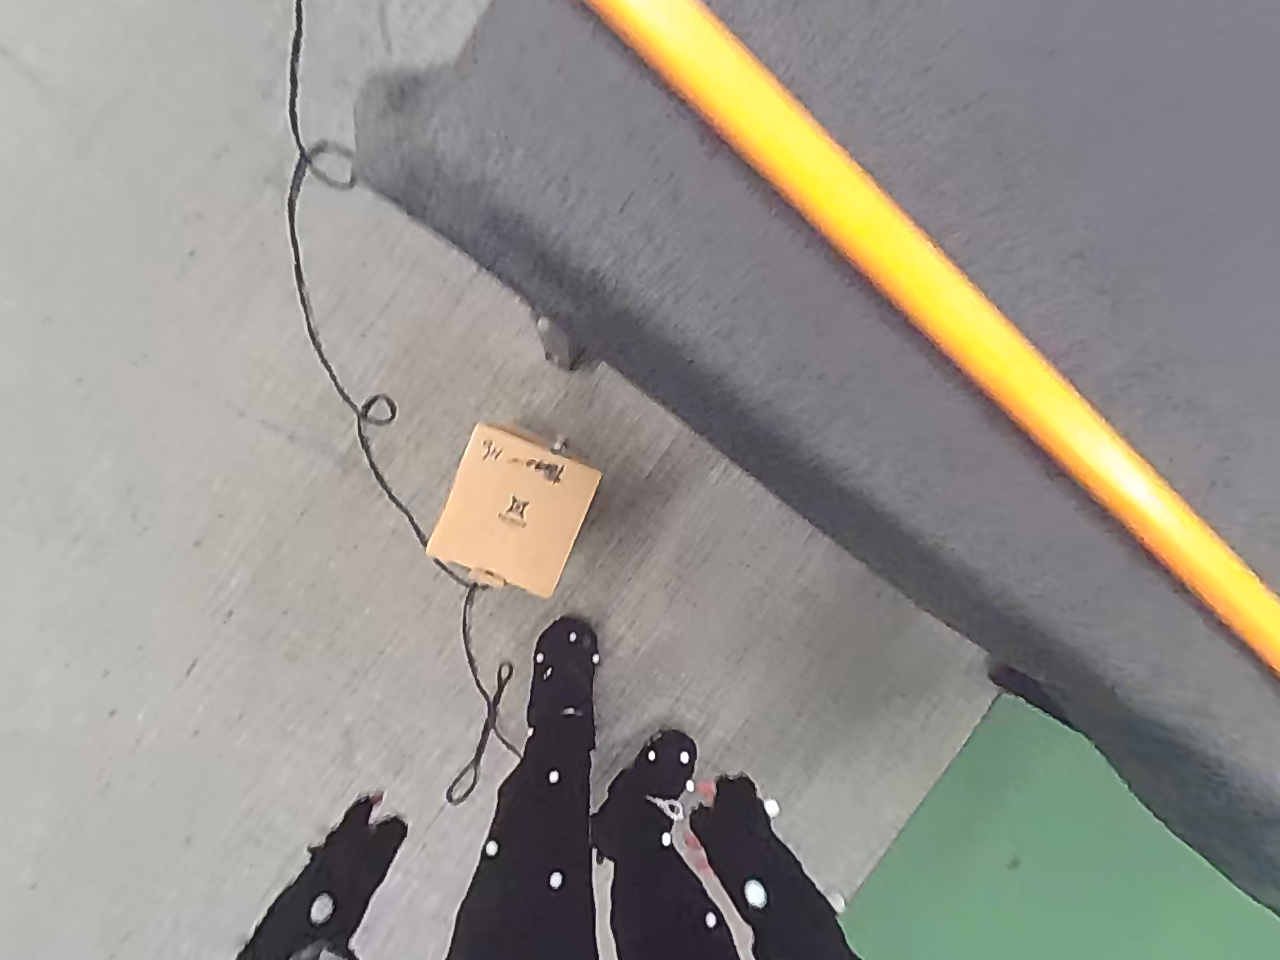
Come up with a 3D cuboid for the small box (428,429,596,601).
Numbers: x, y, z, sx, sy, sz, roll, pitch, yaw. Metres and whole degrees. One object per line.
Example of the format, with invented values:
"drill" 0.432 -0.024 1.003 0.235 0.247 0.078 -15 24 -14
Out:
"small box" -0.164 0.040 0.750 0.168 0.176 0.179 20 92 -7
